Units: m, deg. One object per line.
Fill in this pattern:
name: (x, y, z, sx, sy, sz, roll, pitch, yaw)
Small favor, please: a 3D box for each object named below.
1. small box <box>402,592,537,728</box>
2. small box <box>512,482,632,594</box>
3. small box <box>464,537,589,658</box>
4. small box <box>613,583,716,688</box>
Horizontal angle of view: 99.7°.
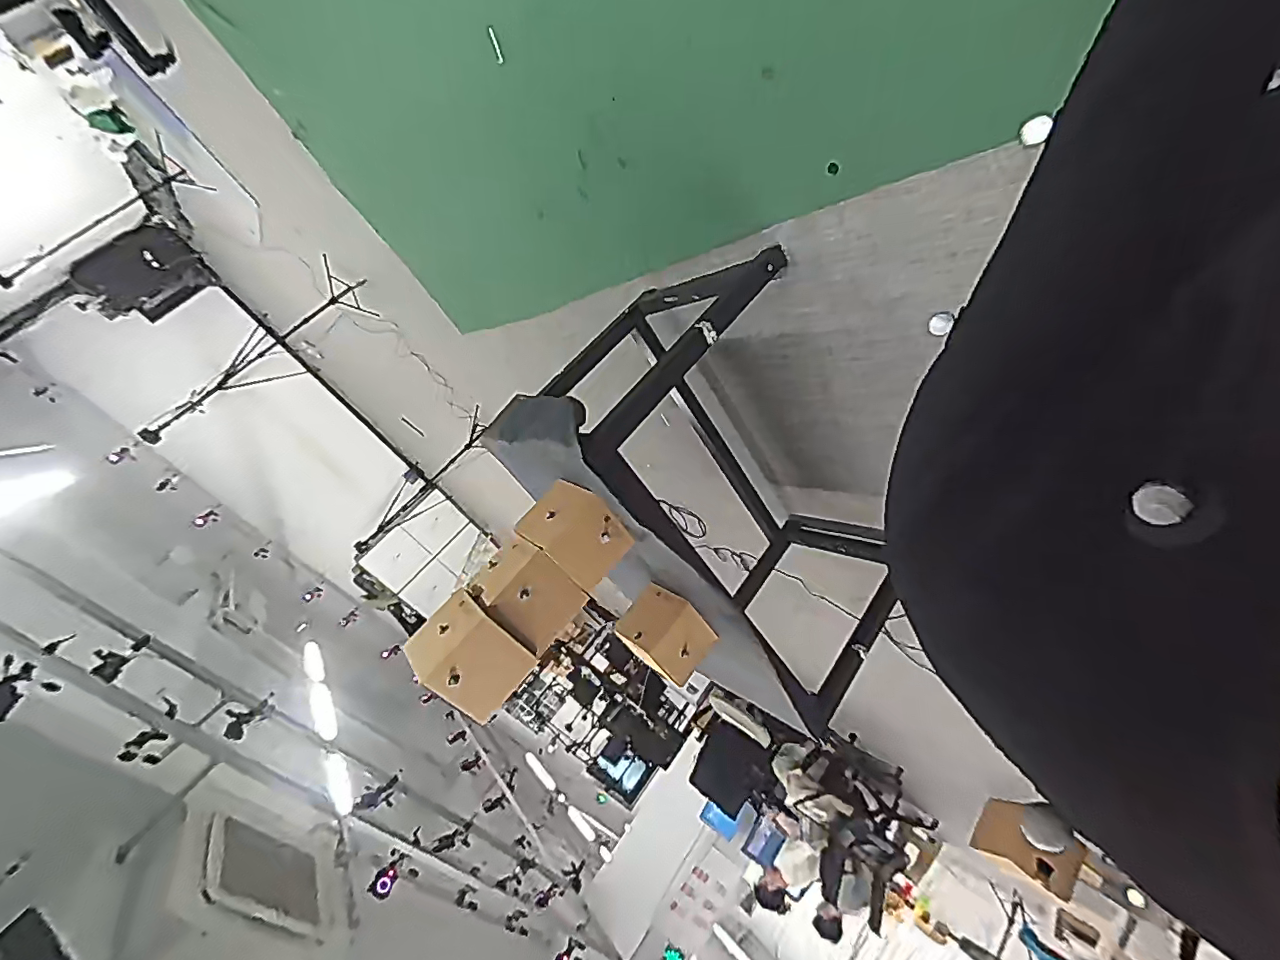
small box: (-0.347, 0.359, 1.110, 0.168, 0.176, 0.179, 18, 151, 54)
small box: (-0.151, 0.126, 1.229, 0.179, 0.176, 0.168, 17, 150, 51)
small box: (-0.247, 0.248, 1.184, 0.179, 0.176, 0.168, 49, 162, -27)
small box: (0.070, 0.404, 1.423, 0.168, 0.176, 0.179, 14, 148, 53)
